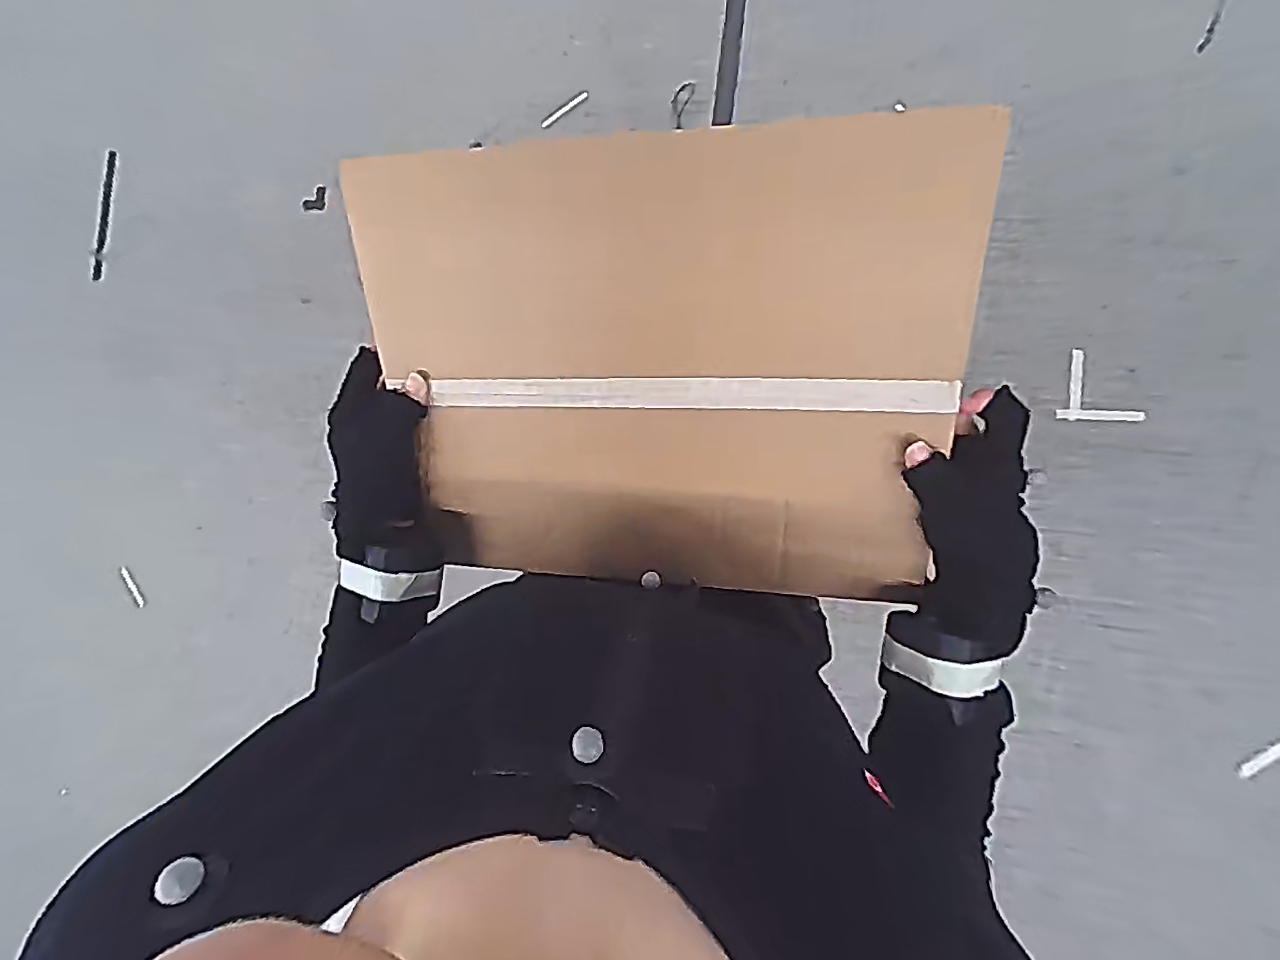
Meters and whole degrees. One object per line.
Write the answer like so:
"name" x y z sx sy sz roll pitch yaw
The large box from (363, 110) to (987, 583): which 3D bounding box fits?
"large box" 0.033 -0.125 0.527 0.408 0.320 0.320 3 114 12
